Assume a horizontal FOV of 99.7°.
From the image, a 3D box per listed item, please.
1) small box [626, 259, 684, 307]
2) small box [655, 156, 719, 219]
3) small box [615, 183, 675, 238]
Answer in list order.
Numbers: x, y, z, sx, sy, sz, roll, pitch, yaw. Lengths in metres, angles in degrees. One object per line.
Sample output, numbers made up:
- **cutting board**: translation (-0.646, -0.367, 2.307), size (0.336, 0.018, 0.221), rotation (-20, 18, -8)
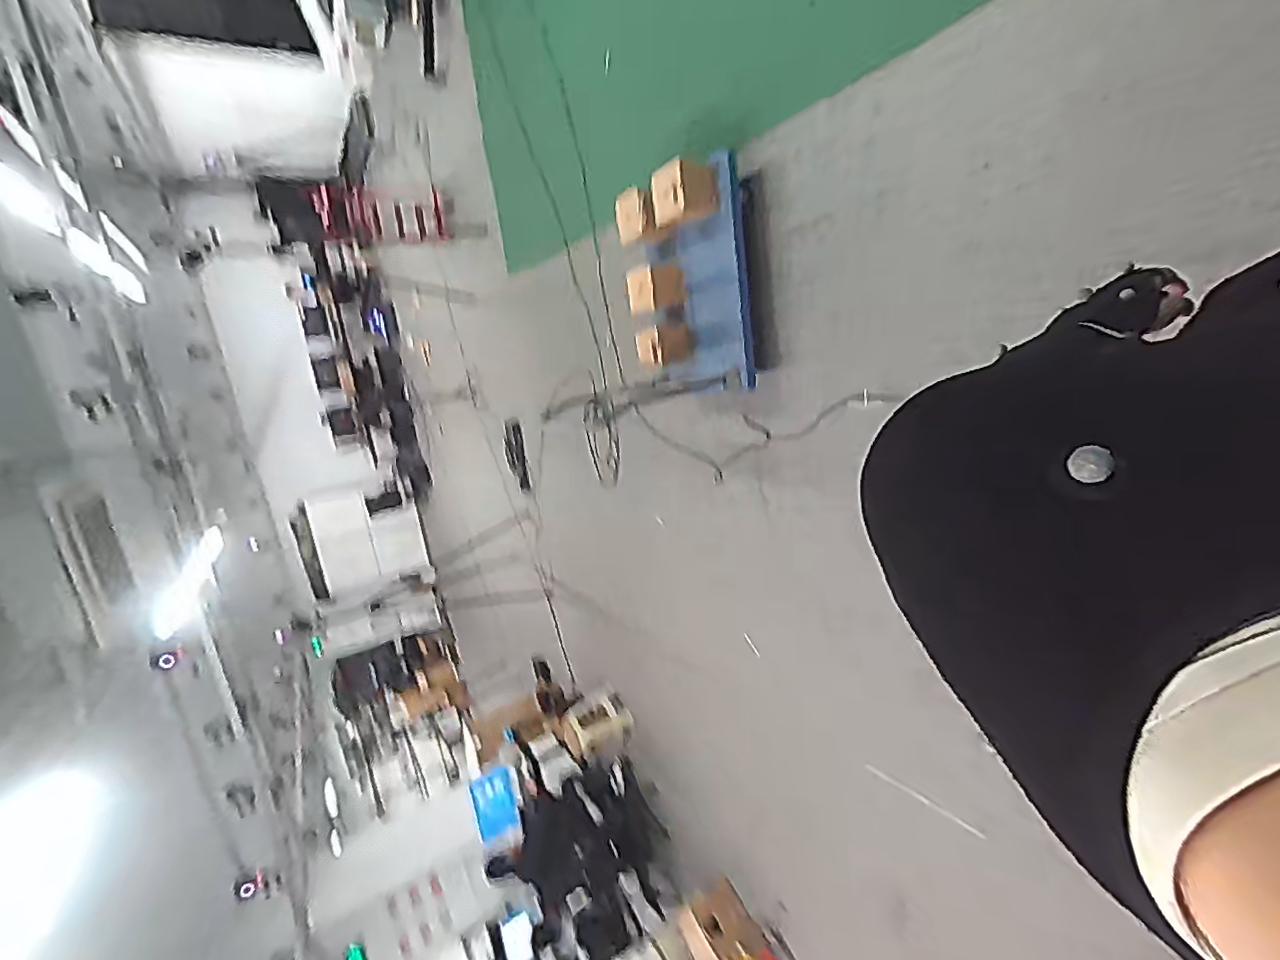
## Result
- **small box**: translation (0.065, -0.828, 2.276), size (0.179, 0.176, 0.168), rotation (12, 114, 54)
- **small box**: translation (0.181, -1.078, 2.000), size (0.179, 0.176, 0.168), rotation (12, 113, 57)
- **small box**: translation (0.022, -1.097, 2.213), size (0.179, 0.176, 0.168), rotation (12, 115, 56)
